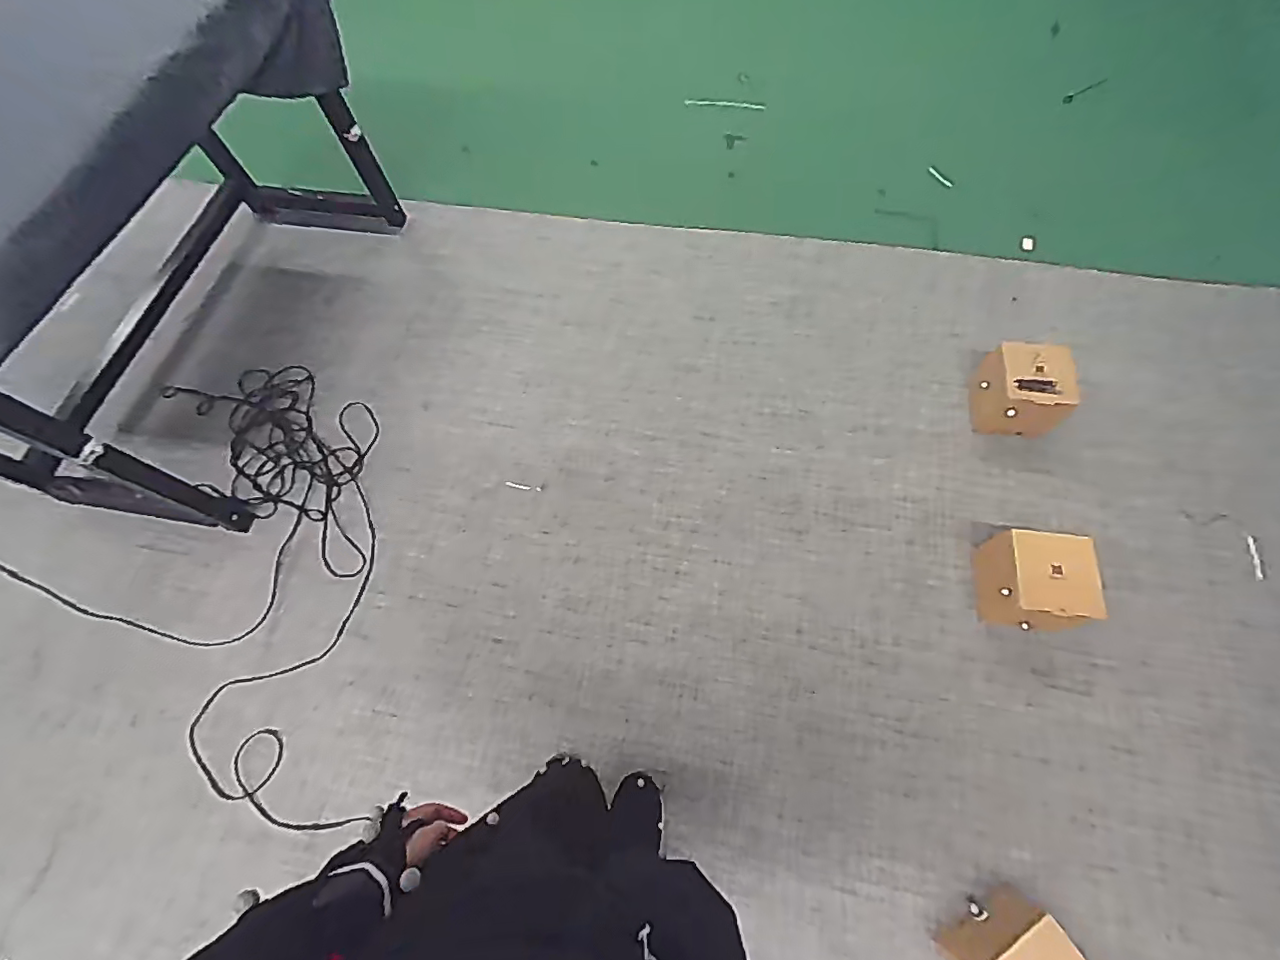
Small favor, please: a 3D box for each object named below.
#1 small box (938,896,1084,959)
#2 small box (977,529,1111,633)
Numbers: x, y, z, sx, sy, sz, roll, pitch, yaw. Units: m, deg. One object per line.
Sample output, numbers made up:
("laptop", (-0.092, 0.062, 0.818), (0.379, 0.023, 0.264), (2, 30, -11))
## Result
("small box", (0.654, 0.855, 0.908), (0.168, 0.176, 0.179), (-30, 67, -11))
("small box", (0.863, 0.224, 1.177), (0.168, 0.176, 0.179), (7, 67, 6))
